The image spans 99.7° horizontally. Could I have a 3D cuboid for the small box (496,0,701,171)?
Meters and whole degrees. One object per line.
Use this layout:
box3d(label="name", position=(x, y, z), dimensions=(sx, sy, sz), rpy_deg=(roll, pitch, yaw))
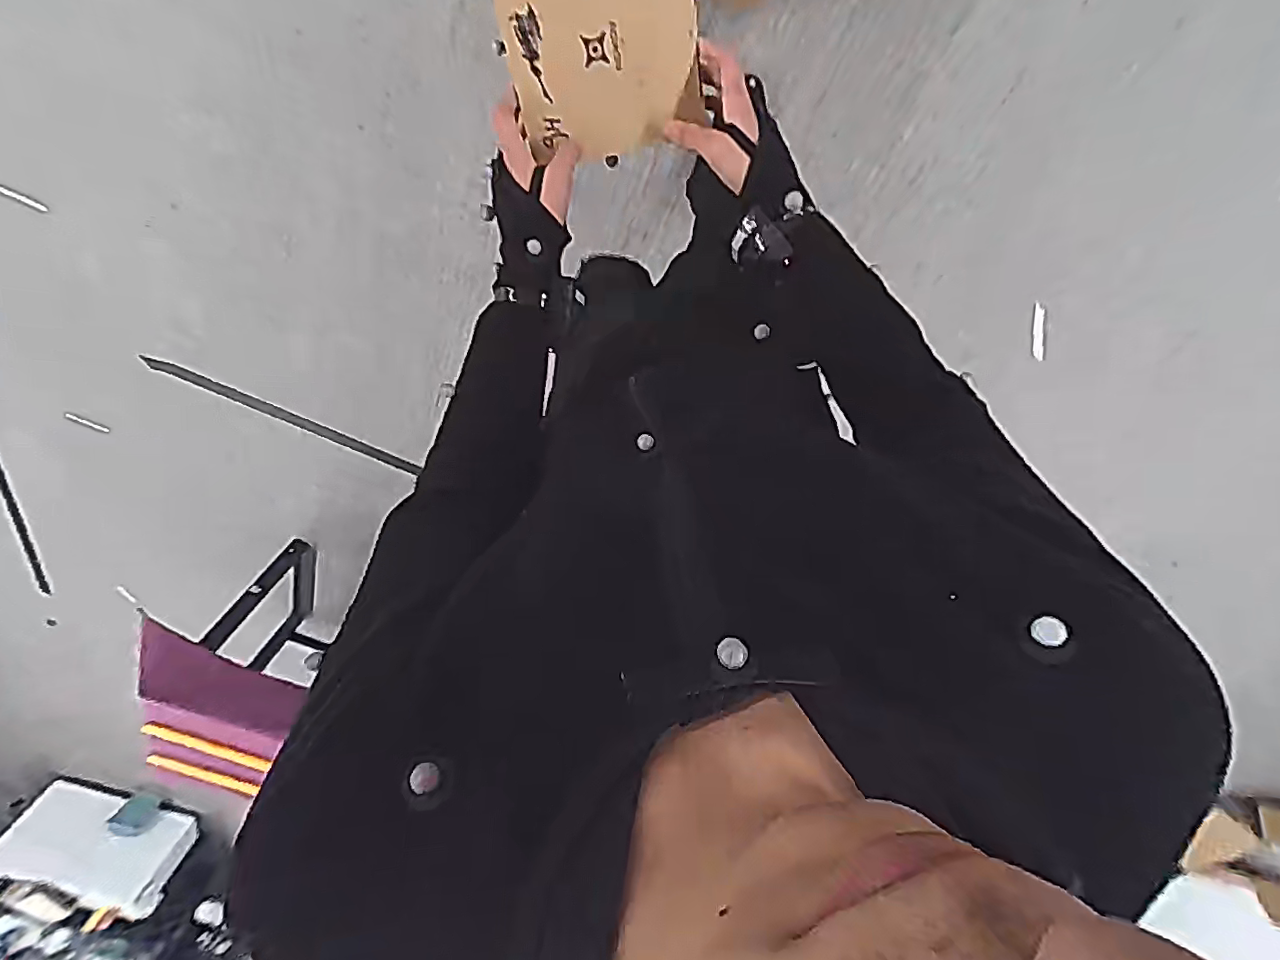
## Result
box3d(label="small box", position=(-0.045, -0.436, 0.566), dimensions=(0.179, 0.176, 0.168), rpy_deg=(-12, 124, -2))
